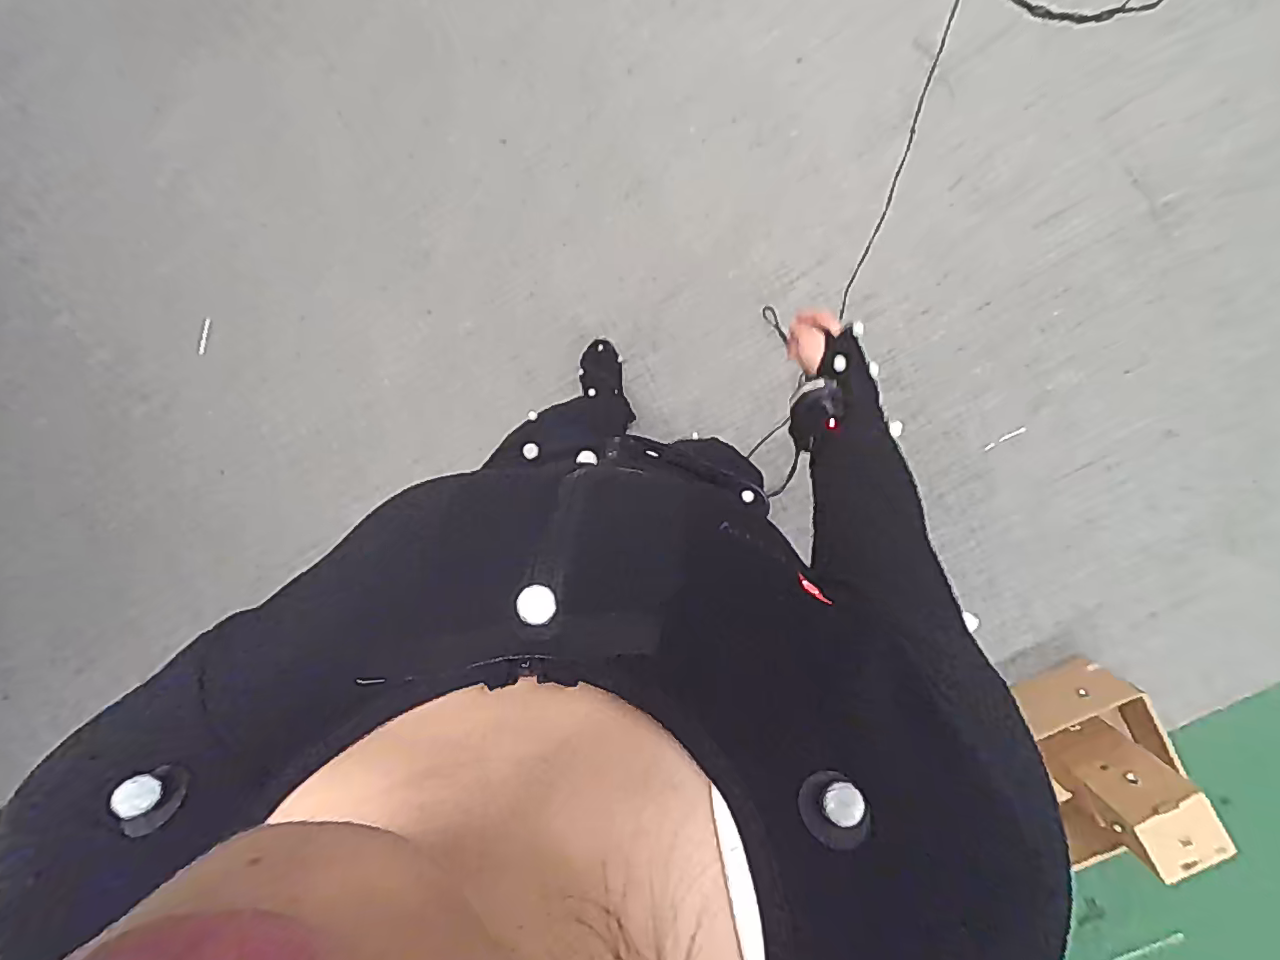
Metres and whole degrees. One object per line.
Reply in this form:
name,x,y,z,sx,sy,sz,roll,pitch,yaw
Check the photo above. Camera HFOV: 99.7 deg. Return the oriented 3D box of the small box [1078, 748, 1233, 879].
small box,1.185,0.761,1.259,0.168,0.176,0.179,-32,95,7
